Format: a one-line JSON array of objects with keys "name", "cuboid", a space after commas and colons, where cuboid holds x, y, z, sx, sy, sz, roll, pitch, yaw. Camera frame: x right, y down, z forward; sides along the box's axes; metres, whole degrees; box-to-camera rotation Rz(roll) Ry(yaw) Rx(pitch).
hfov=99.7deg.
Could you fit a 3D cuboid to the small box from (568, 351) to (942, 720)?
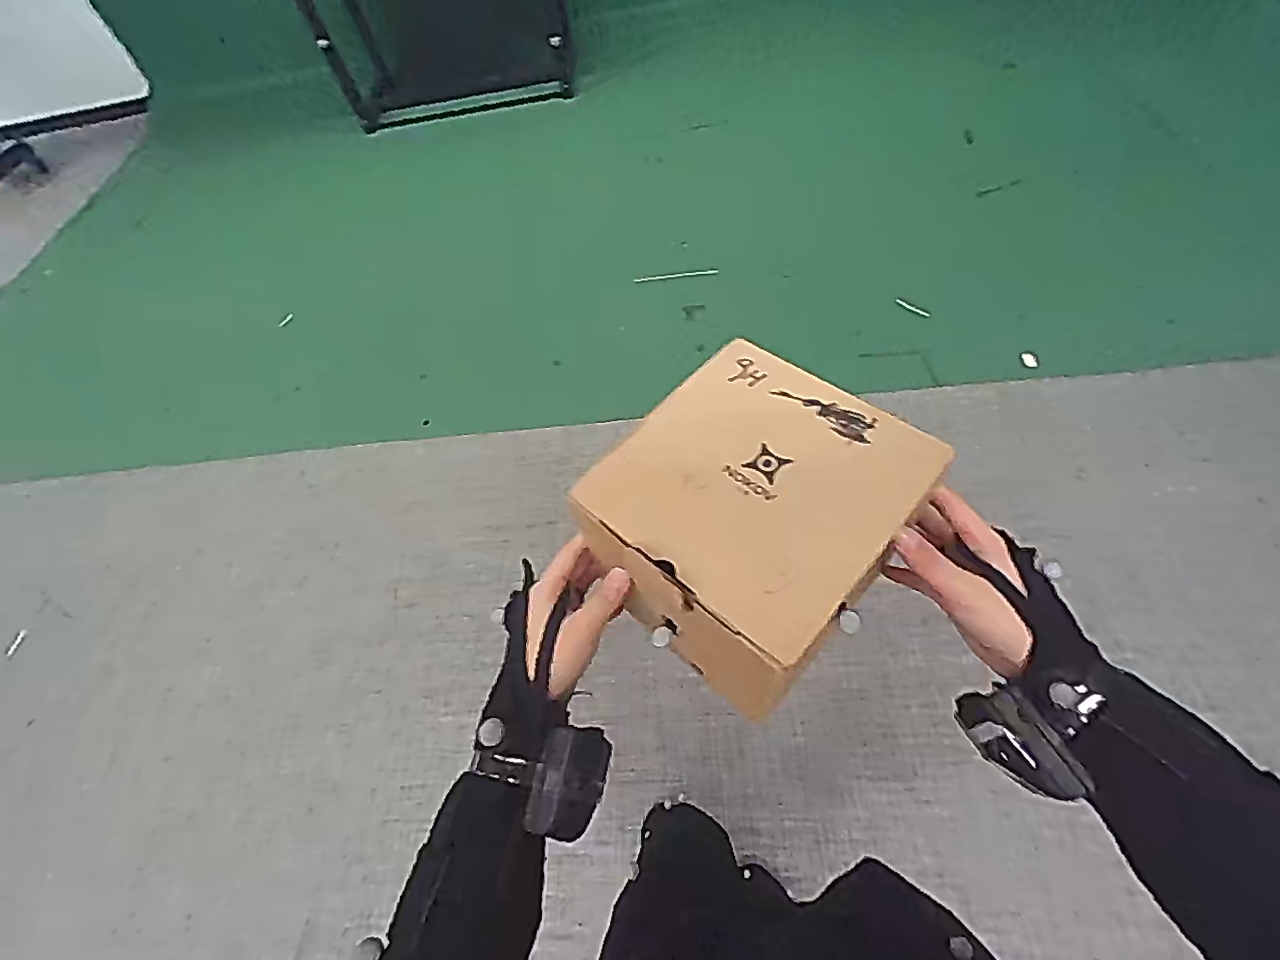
[{"name": "small box", "cuboid": [0.079, 0.047, 0.401, 0.168, 0.176, 0.179, 37, 69, 27]}]
